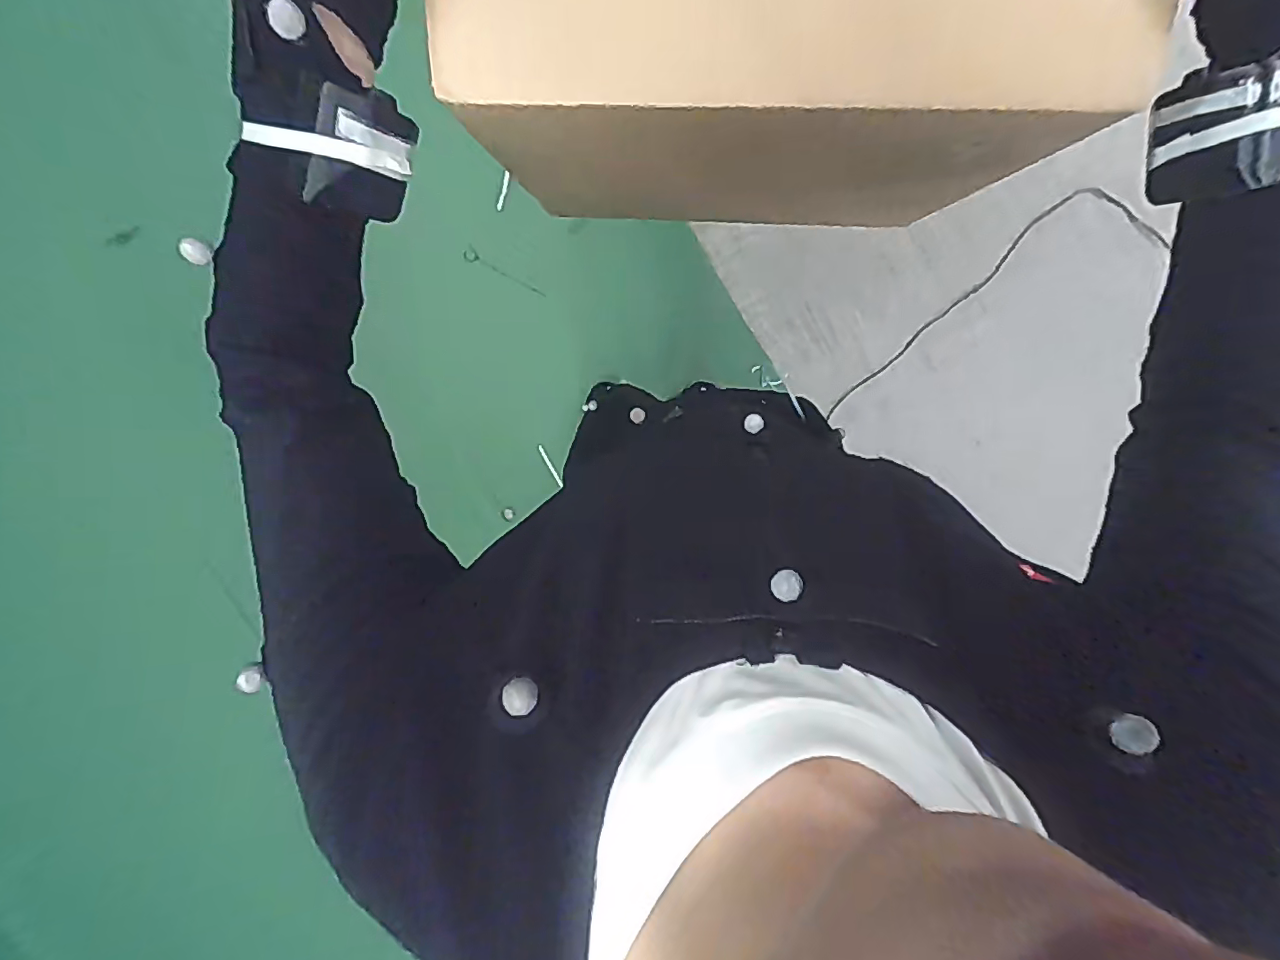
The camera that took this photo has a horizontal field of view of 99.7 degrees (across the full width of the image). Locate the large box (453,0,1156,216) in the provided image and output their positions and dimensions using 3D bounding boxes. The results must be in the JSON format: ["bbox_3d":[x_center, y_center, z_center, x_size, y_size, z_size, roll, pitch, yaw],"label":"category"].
[{"bbox_3d":[0.097,-0.409,0.426,0.408,0.320,0.320,3,105,3],"label":"large box"}]
